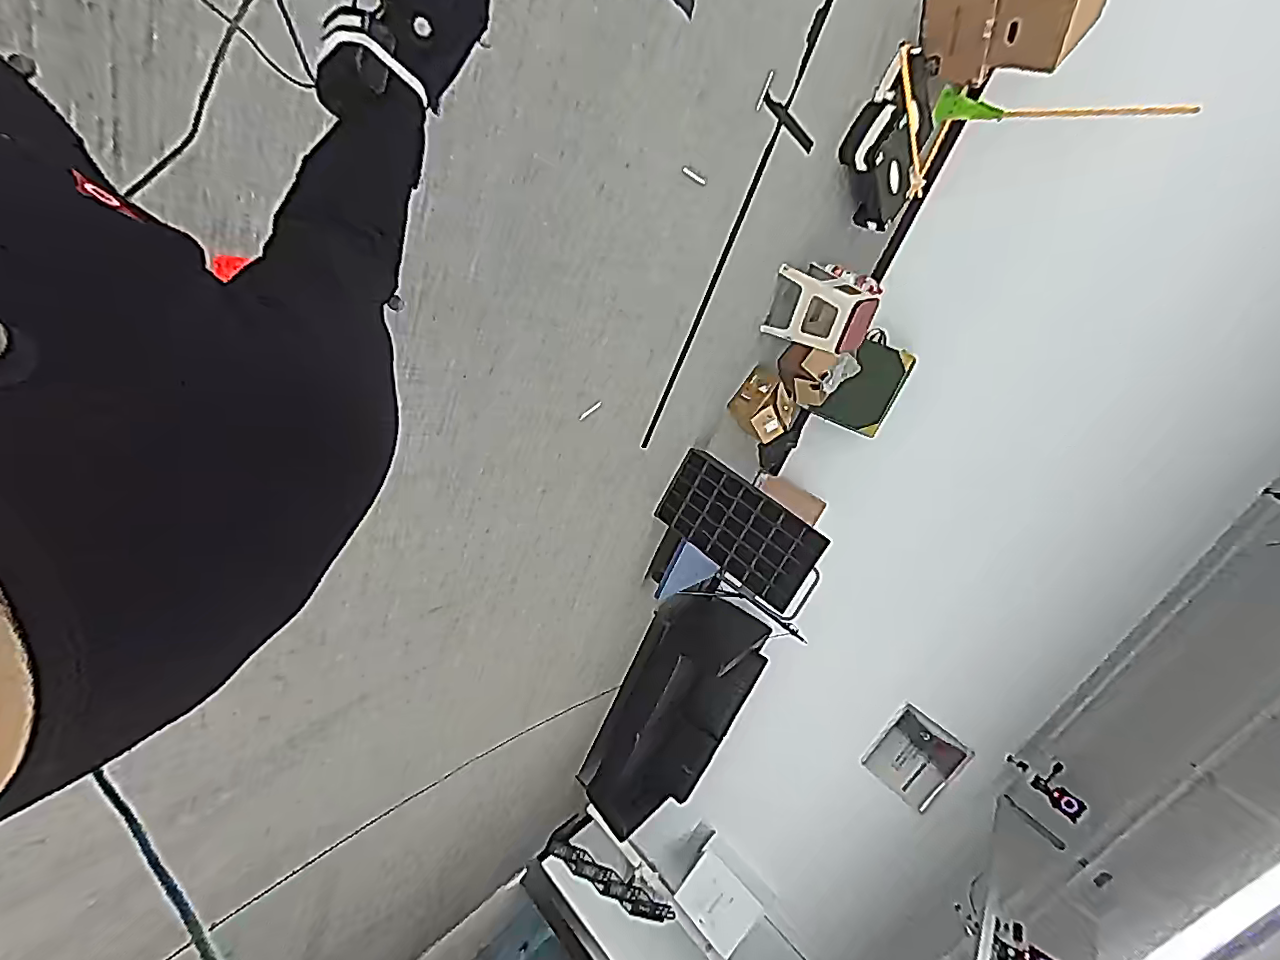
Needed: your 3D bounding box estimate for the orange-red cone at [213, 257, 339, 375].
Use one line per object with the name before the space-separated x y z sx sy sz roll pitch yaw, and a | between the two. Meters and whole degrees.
orange-red cone | -0.759 -0.326 1.190 0.199 0.360 0.198 -15 134 -51
